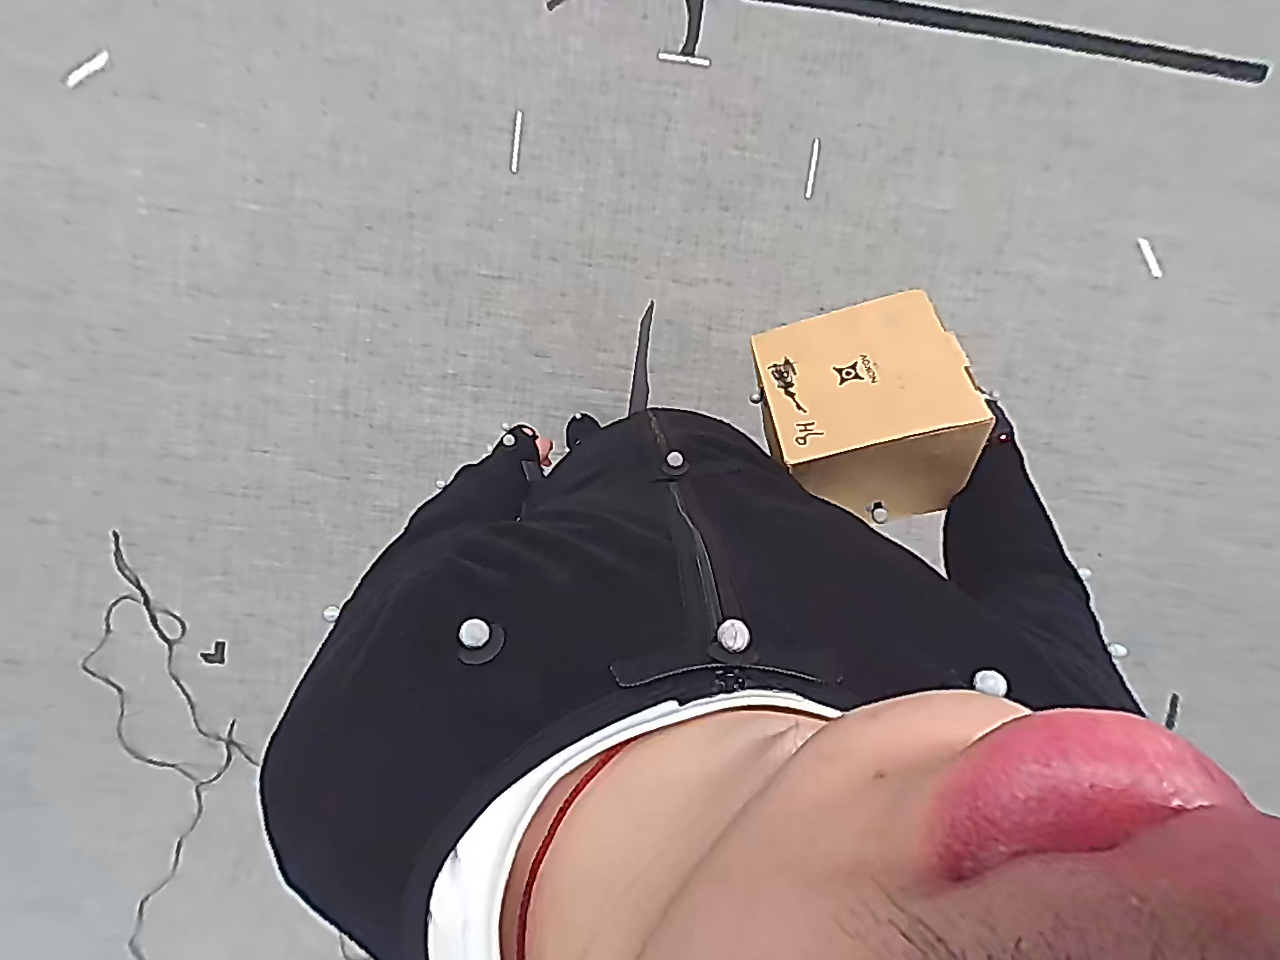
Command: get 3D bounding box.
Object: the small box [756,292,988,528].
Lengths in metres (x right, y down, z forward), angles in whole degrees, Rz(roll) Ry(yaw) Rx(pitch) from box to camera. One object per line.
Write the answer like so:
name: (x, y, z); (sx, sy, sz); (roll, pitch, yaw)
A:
small box: (0.234, -0.066, 0.589); (0.179, 0.176, 0.168); (-13, 57, 11)
